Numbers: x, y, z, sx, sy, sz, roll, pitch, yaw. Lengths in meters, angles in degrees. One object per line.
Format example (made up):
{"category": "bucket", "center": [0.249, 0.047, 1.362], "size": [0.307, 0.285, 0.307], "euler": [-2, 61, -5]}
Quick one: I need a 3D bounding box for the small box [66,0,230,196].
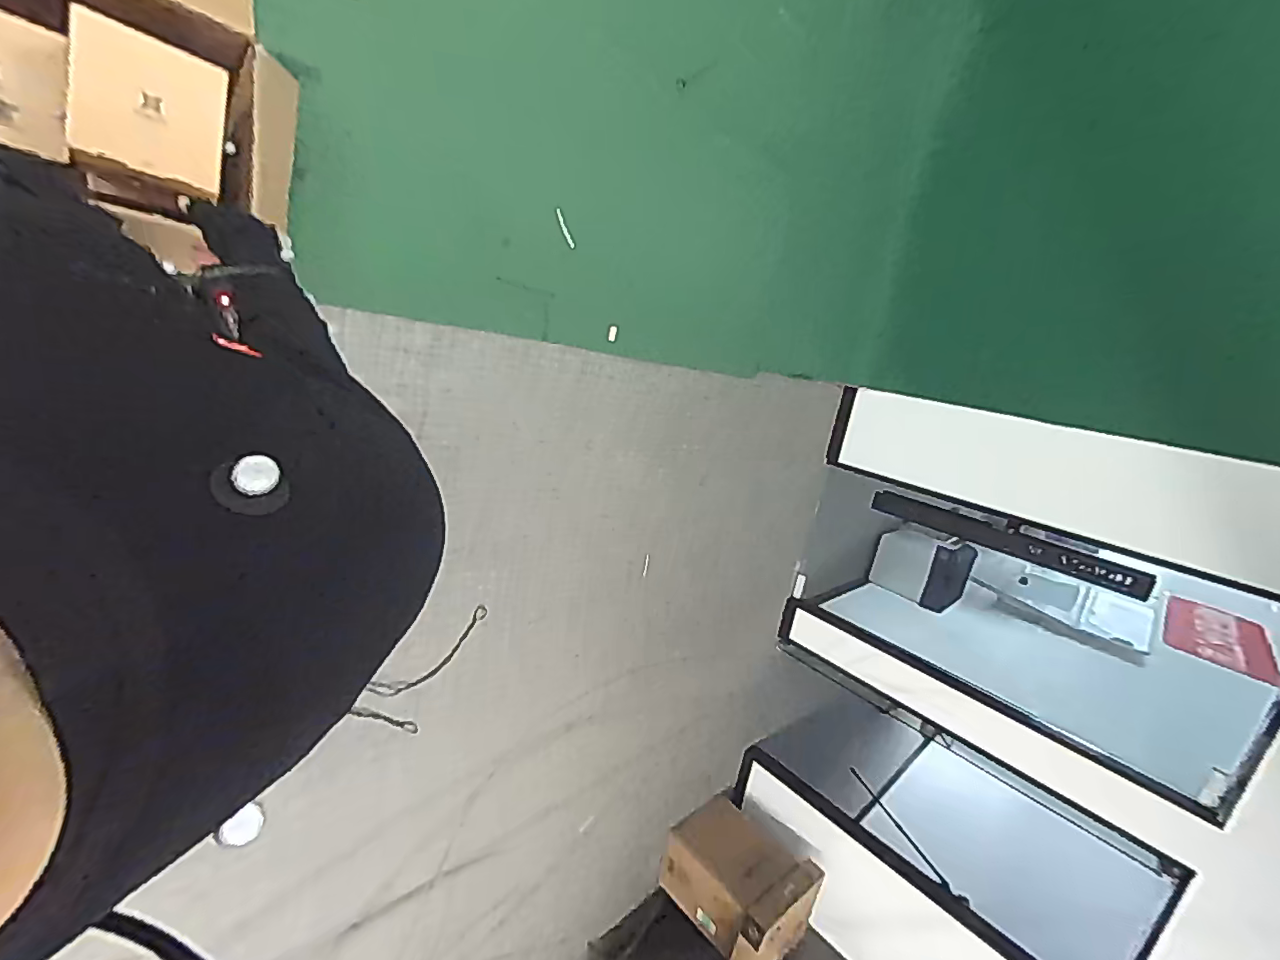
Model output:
{"category": "small box", "center": [-0.742, -0.558, 0.821], "size": [0.168, 0.176, 0.179], "euler": [4, 103, -43]}
